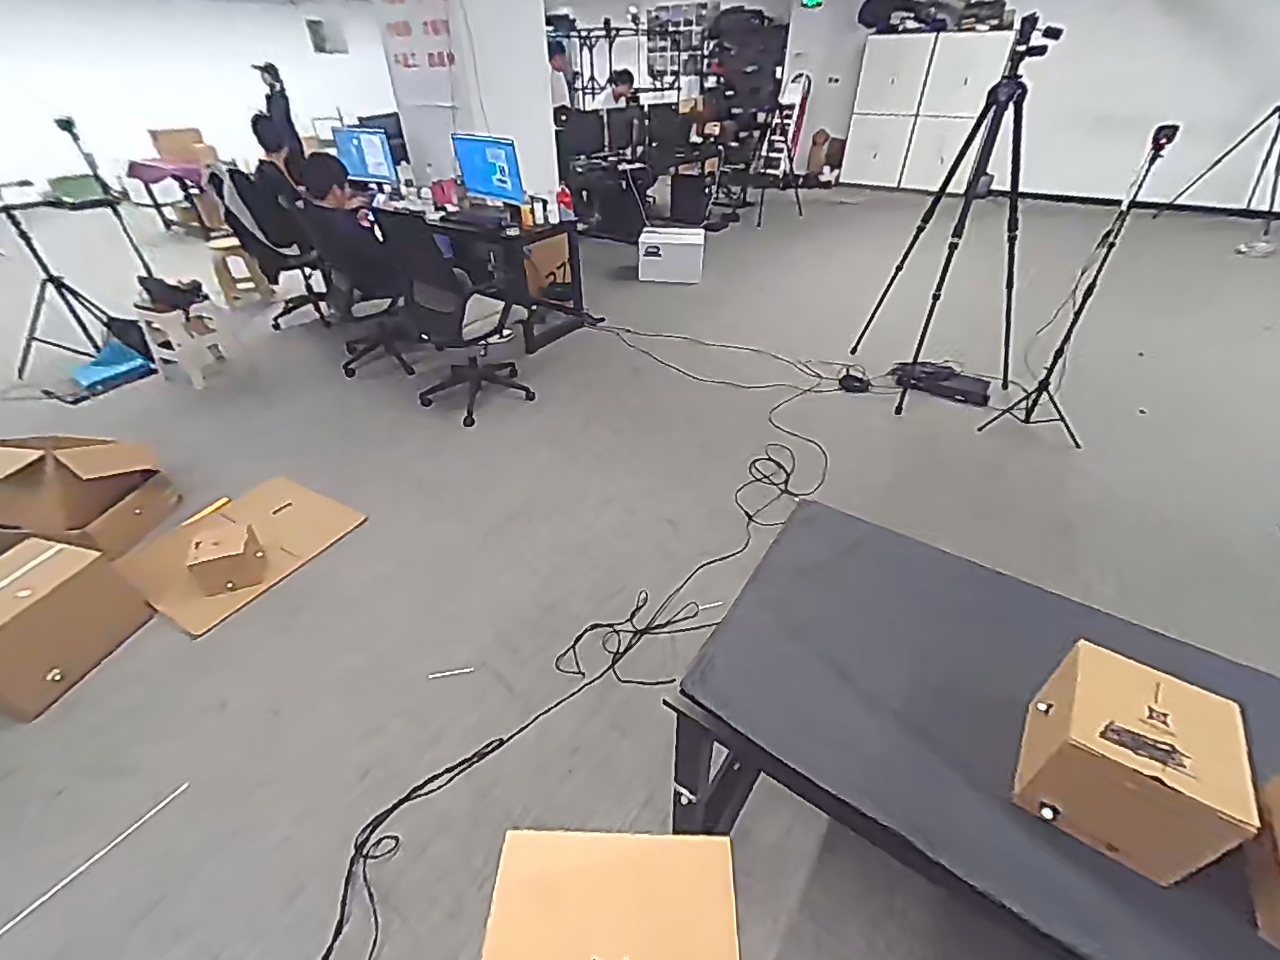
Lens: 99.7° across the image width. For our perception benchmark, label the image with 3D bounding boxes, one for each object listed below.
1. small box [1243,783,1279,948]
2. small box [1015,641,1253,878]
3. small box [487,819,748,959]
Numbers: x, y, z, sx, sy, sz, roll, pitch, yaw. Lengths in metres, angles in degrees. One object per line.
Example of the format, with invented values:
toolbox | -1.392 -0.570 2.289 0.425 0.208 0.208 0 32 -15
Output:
small box | 0.807 0.433 0.576 0.168 0.176 0.179 22 42 28
small box | 0.609 0.351 0.688 0.168 0.176 0.179 24 42 29
small box | -0.016 0.369 0.377 0.168 0.176 0.179 1 39 2
